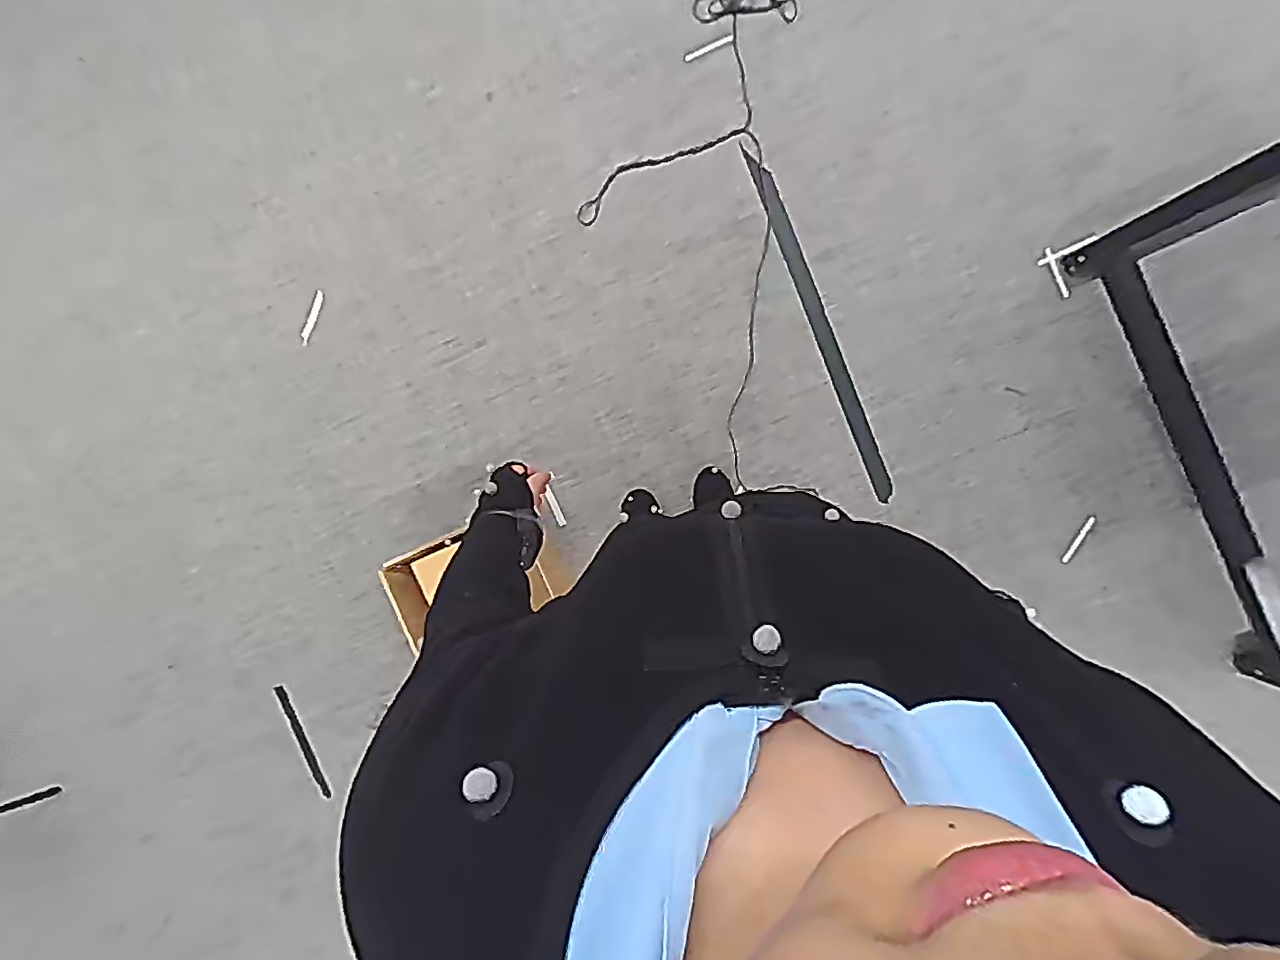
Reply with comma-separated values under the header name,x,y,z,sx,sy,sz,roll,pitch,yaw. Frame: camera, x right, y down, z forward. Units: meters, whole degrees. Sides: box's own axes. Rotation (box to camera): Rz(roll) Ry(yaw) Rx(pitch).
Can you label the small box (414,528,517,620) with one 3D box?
name,x,y,z,sx,sy,sz,roll,pitch,yaw
small box,-0.450,0.241,1.423,0.179,0.176,0.168,-24,93,4
